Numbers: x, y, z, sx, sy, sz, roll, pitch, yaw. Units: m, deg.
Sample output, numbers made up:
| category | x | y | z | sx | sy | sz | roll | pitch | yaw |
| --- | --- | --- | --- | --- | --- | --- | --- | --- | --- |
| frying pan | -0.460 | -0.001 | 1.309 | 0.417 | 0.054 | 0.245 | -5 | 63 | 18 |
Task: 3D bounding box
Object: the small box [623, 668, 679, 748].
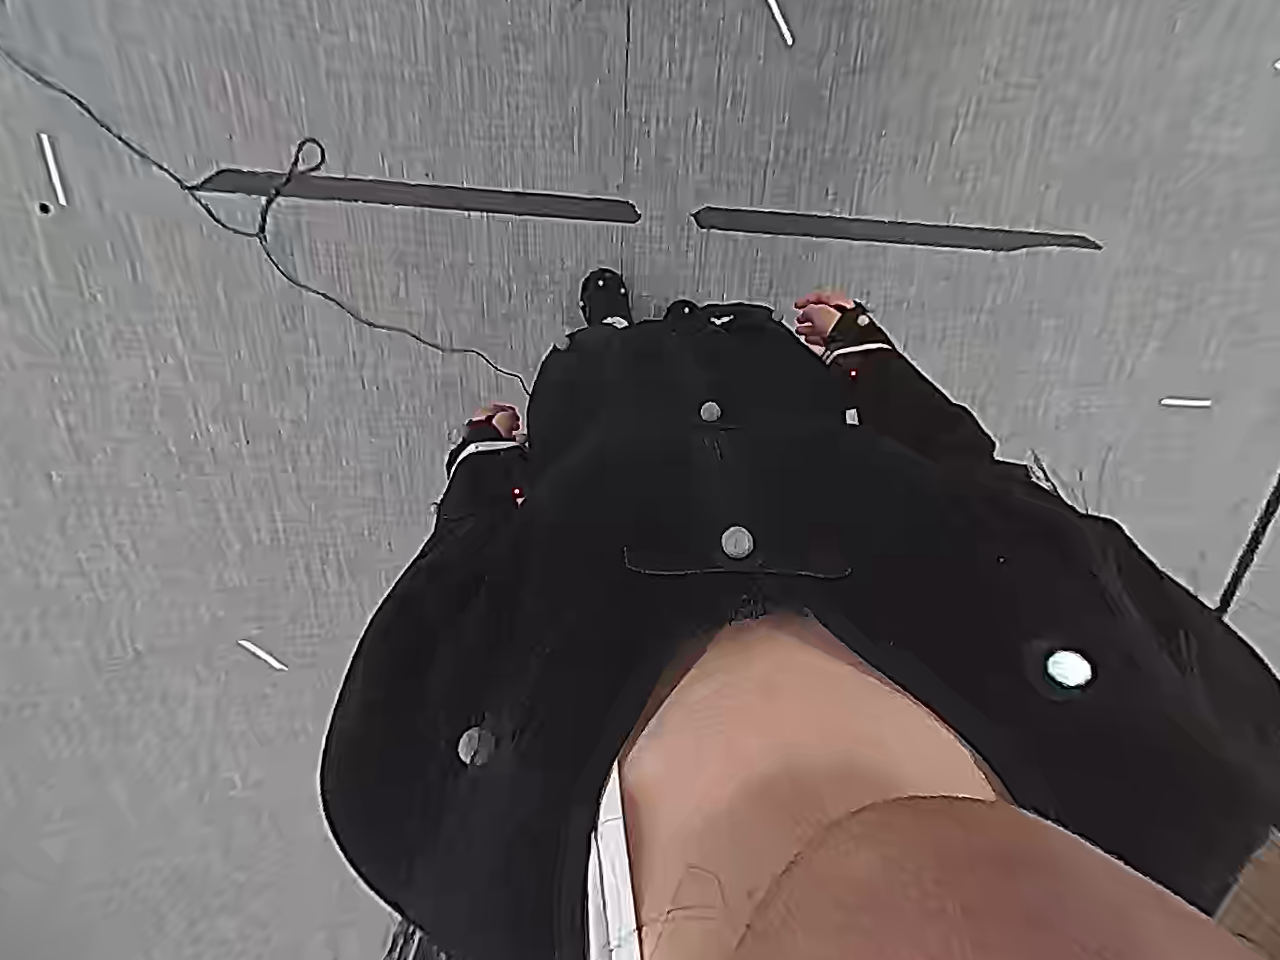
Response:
| category | x | y | z | sx | sy | sz | roll | pitch | yaw |
| --- | --- | --- | --- | --- | --- | --- | --- | --- | --- |
| small box | 0.030 | 0.714 | 1.717 | 0.168 | 0.176 | 0.179 | -2 | 111 | -2 |
